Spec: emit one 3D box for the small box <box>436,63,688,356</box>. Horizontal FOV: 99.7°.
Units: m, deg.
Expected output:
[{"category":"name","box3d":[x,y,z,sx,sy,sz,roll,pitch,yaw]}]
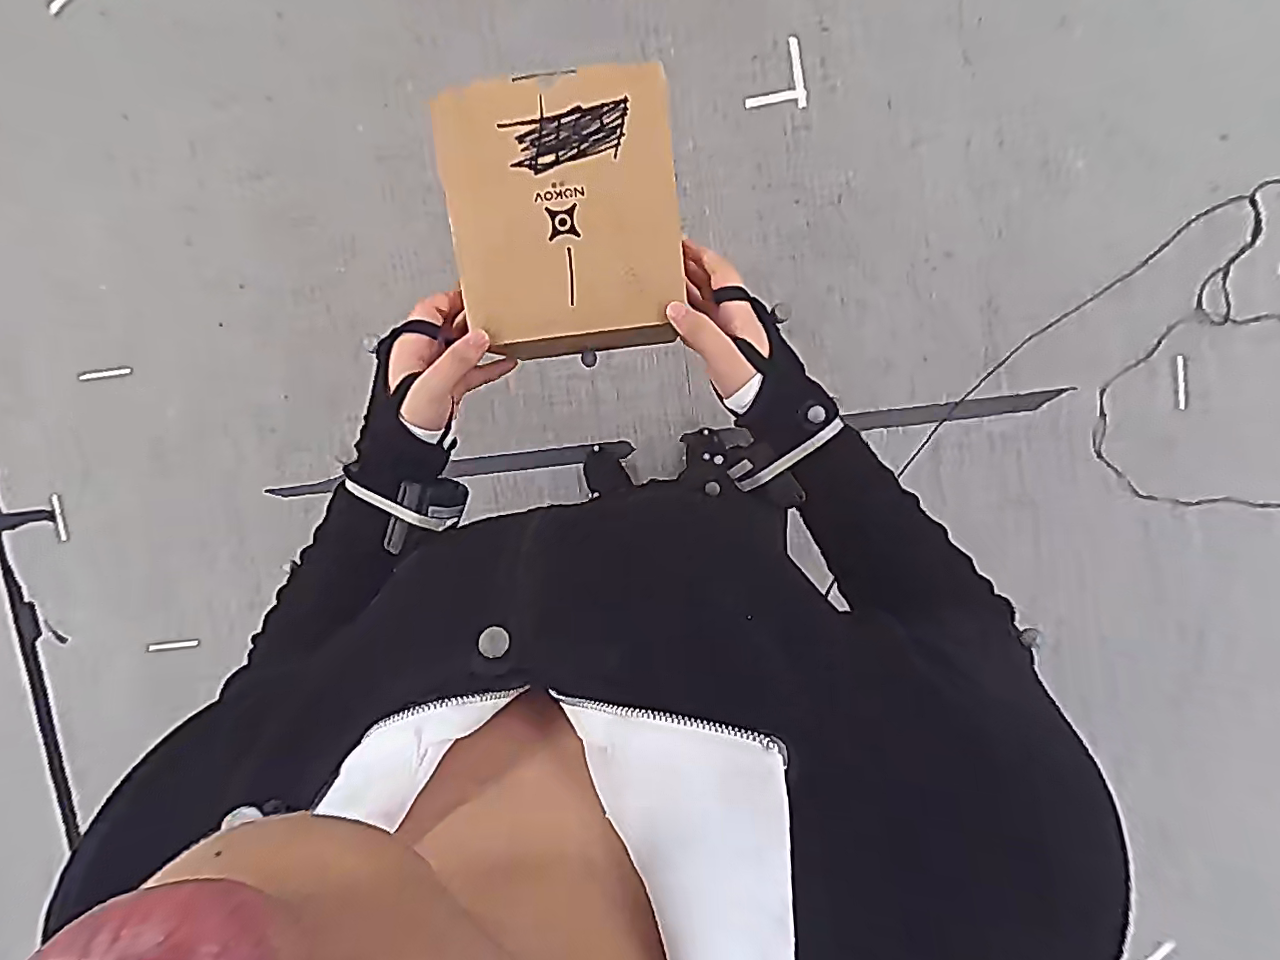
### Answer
[{"category":"small box","box3d":[-0.053,-0.208,0.465,0.168,0.176,0.179,-6,100,1]}]
